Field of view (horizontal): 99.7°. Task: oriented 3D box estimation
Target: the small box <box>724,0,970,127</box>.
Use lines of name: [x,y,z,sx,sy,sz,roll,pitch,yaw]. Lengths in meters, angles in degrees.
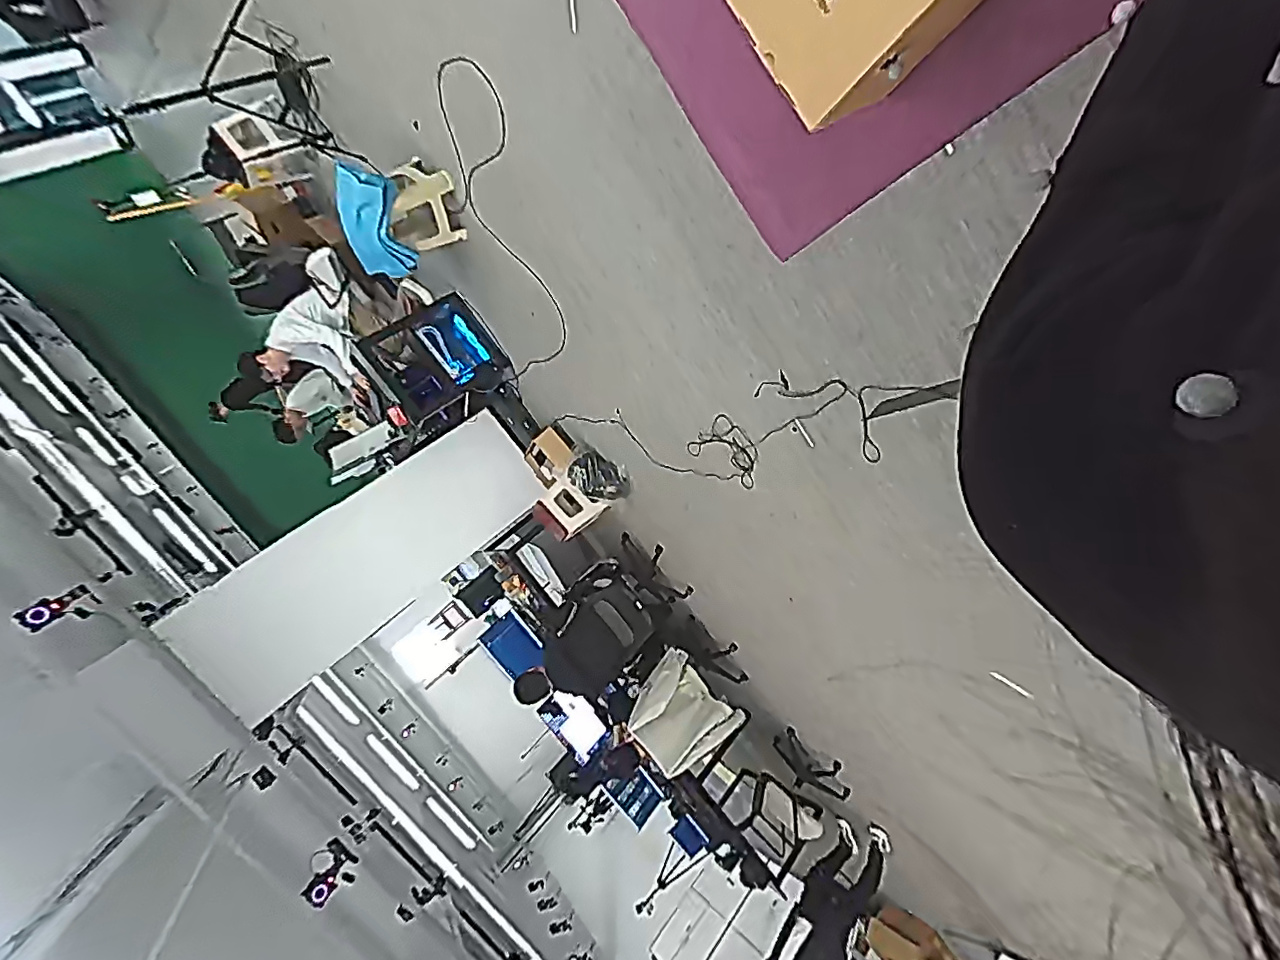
small box: [0.220,-0.499,0.524,0.168,0.176,0.179,53,154,-7]
